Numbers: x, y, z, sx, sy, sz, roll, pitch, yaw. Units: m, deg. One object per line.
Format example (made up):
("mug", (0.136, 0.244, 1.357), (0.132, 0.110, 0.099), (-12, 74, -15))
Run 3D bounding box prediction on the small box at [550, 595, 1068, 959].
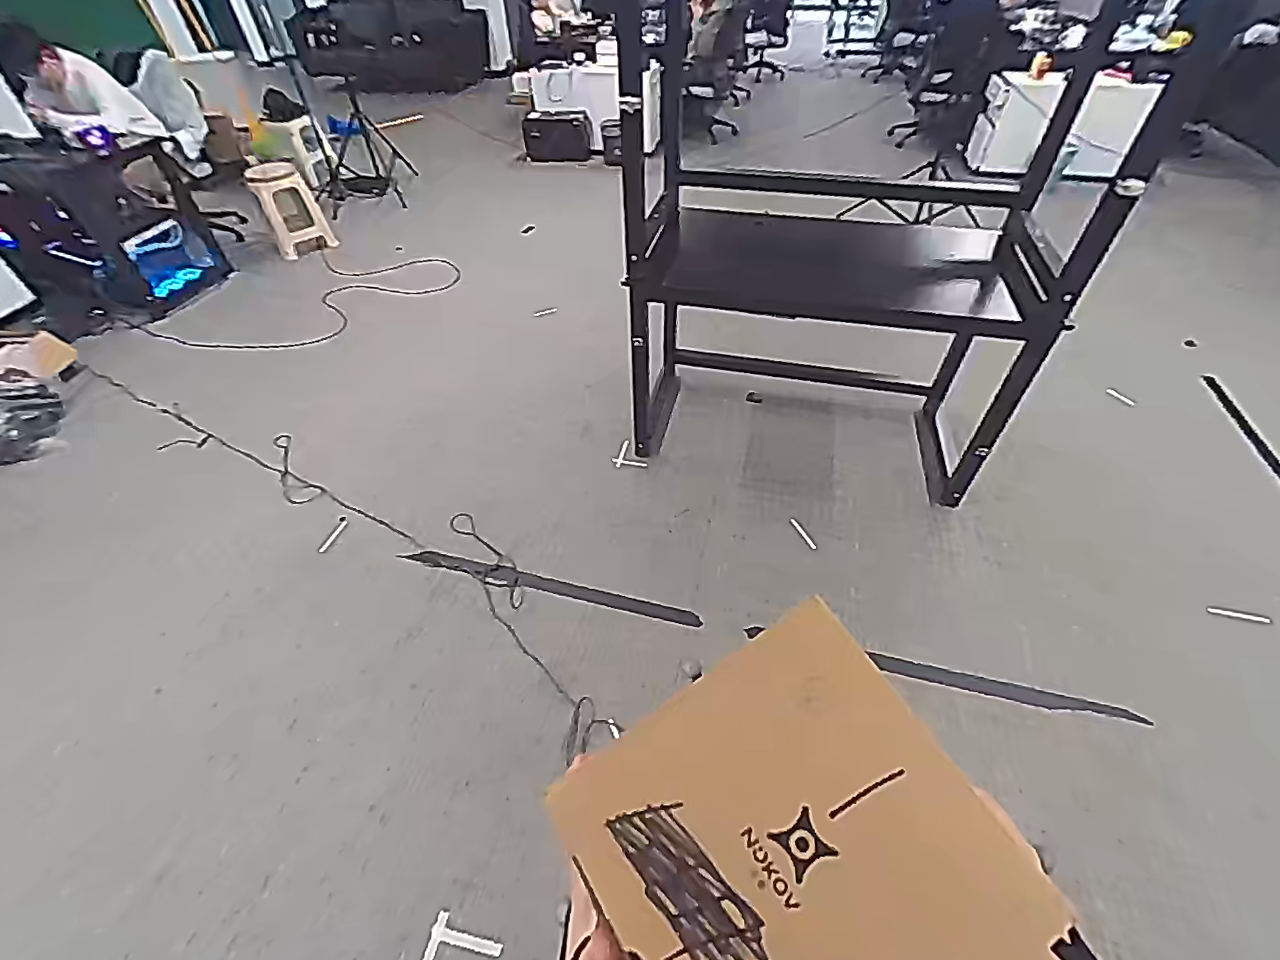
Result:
("small box", (0.080, 0.196, 0.322), (0.179, 0.176, 0.168), (-35, 69, -4))
